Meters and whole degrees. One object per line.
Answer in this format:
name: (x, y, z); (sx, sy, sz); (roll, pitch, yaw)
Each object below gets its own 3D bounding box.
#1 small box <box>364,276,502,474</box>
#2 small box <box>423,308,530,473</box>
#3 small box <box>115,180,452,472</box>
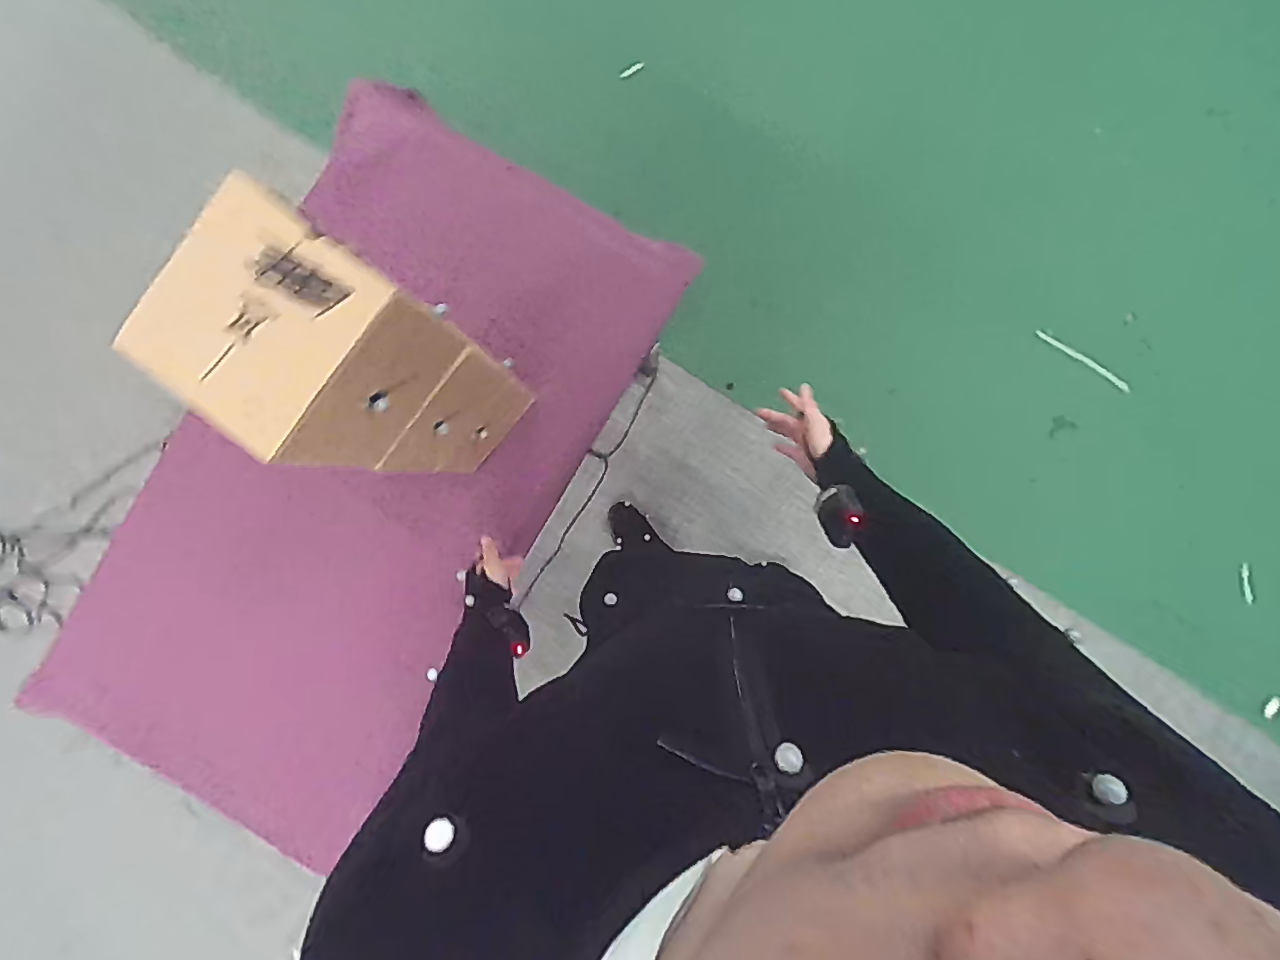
small box: (-0.299, -0.124, 0.675); (0.168, 0.176, 0.179); (38, 93, 0)
small box: (-0.295, -0.126, 0.838); (0.168, 0.176, 0.179); (41, 91, 1)
small box: (-0.305, -0.125, 0.510); (0.168, 0.176, 0.179); (37, 92, 1)
